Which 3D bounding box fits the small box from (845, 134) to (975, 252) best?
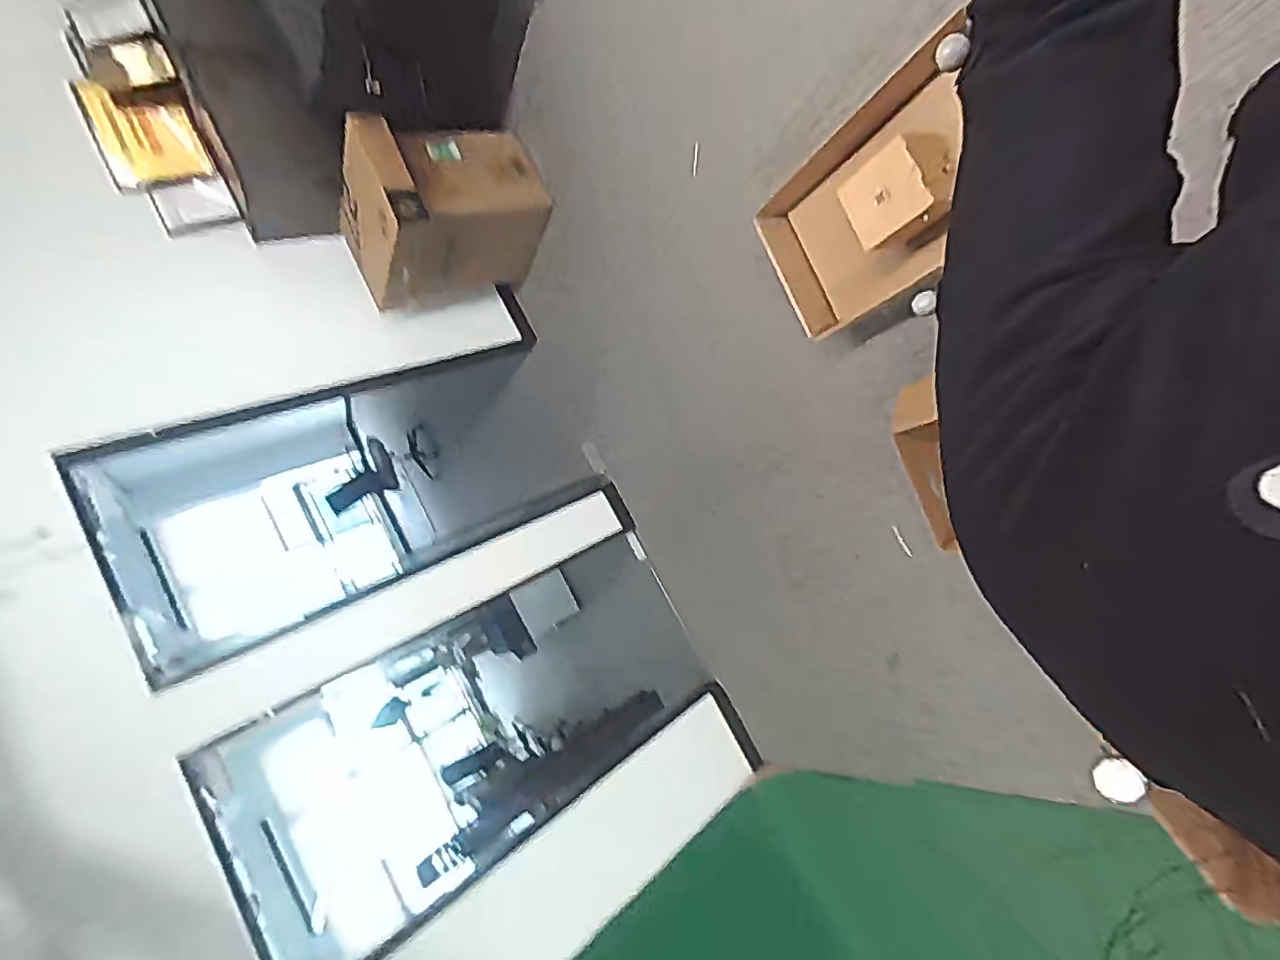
[{"bbox_3d":[0.615,-0.652,1.234,0.179,0.176,0.168,-30,85,58],"label":"small box"}]
